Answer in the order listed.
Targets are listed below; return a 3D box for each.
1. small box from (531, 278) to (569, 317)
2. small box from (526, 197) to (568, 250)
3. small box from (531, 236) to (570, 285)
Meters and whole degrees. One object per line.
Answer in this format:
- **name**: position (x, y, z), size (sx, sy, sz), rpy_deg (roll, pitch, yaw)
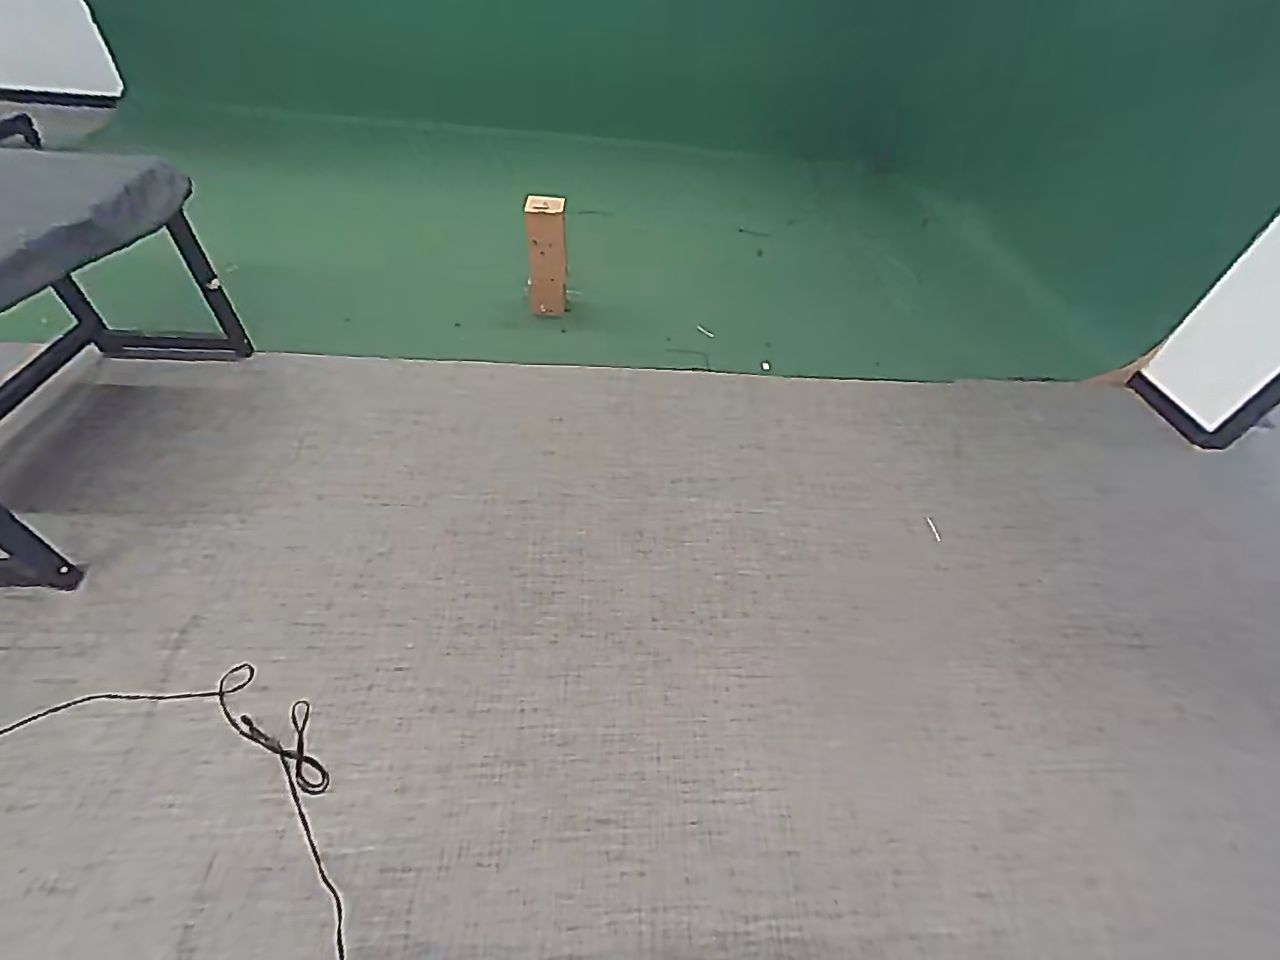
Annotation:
- **small box**: position (-0.443, -0.934, 2.684), size (0.168, 0.176, 0.179), rpy_deg (2, 48, -3)
- **small box**: position (-0.414, -1.160, 2.447), size (0.168, 0.176, 0.179), rpy_deg (2, 46, -4)
- **small box**: position (-0.423, -1.049, 2.568), size (0.168, 0.176, 0.179), rpy_deg (1, 46, -4)
